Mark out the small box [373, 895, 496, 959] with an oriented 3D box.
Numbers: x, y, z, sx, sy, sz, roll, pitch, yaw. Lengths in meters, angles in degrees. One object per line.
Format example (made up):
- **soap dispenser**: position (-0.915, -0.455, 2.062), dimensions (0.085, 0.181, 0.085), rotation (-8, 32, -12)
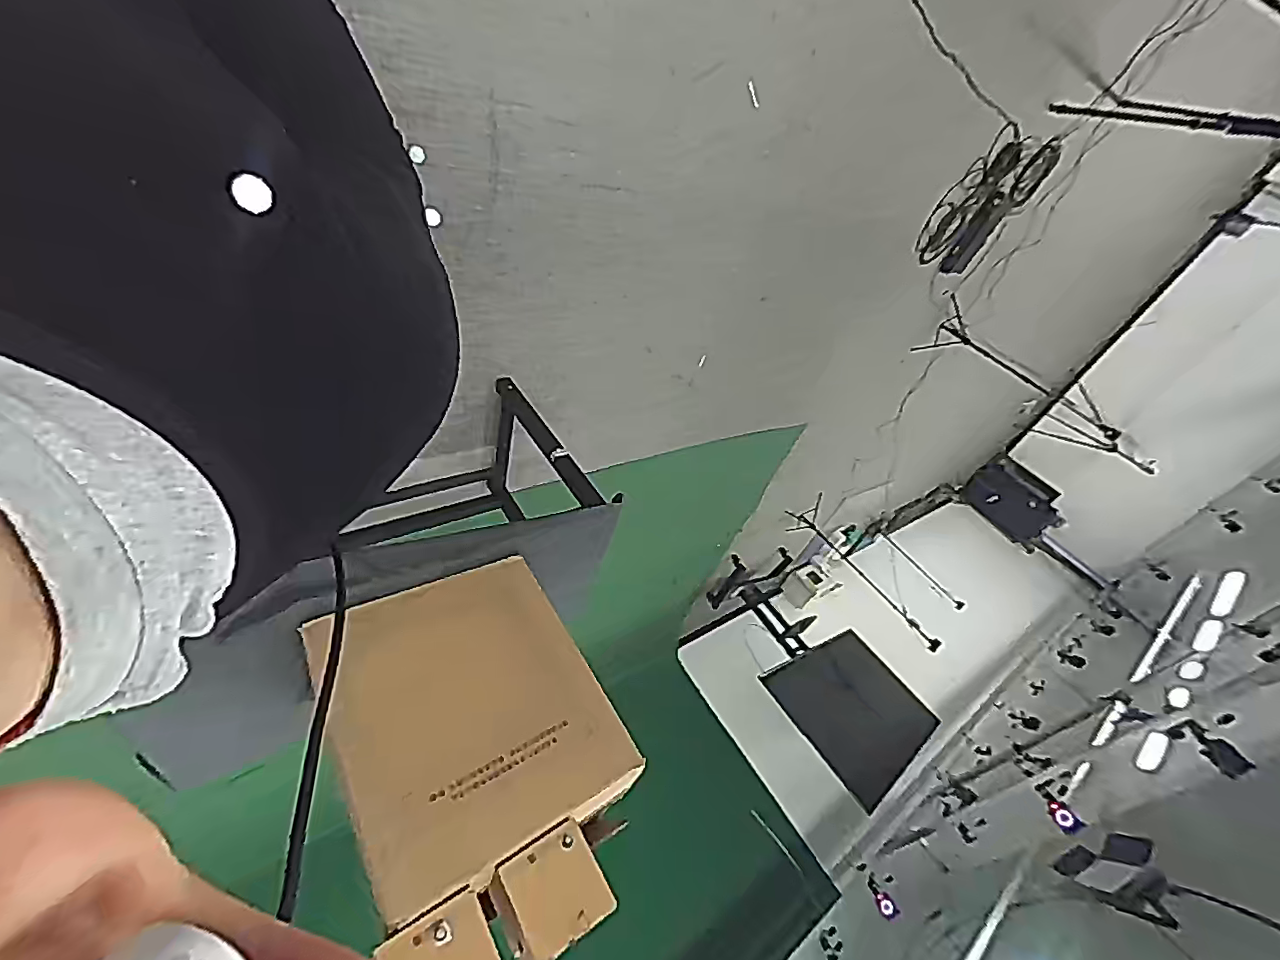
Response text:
- **small box**: position (-0.338, 0.846, 0.907), dimensions (0.168, 0.176, 0.179), rotation (-15, 141, -37)
